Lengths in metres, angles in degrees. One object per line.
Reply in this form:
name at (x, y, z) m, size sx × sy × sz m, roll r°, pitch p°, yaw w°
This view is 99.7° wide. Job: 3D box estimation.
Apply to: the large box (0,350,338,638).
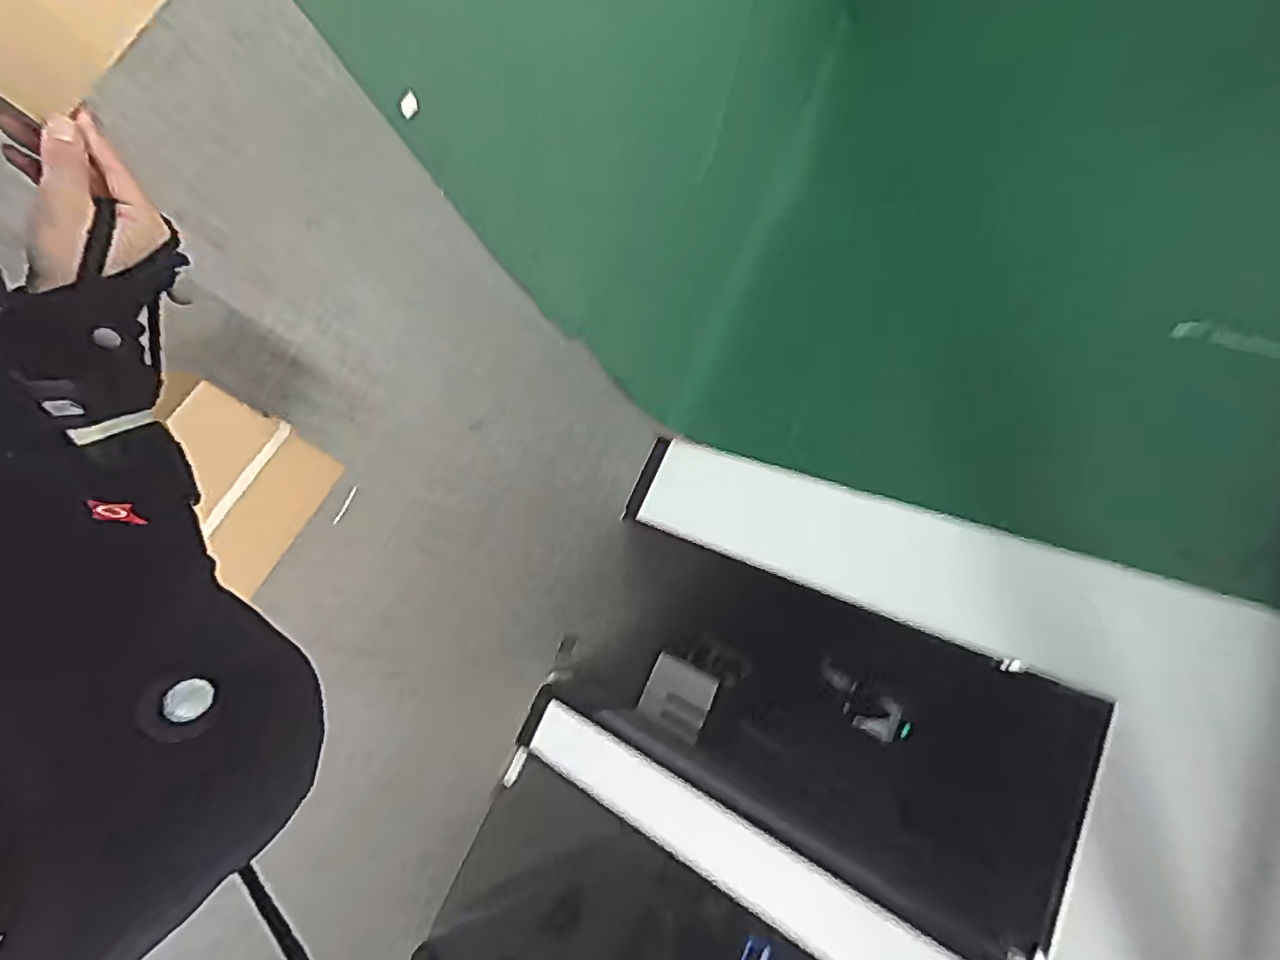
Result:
large box at (-0.897, 0.024, 1.035) m, size 0.408 × 0.320 × 0.320 m, roll -60°, pitch 150°, yaw -16°
